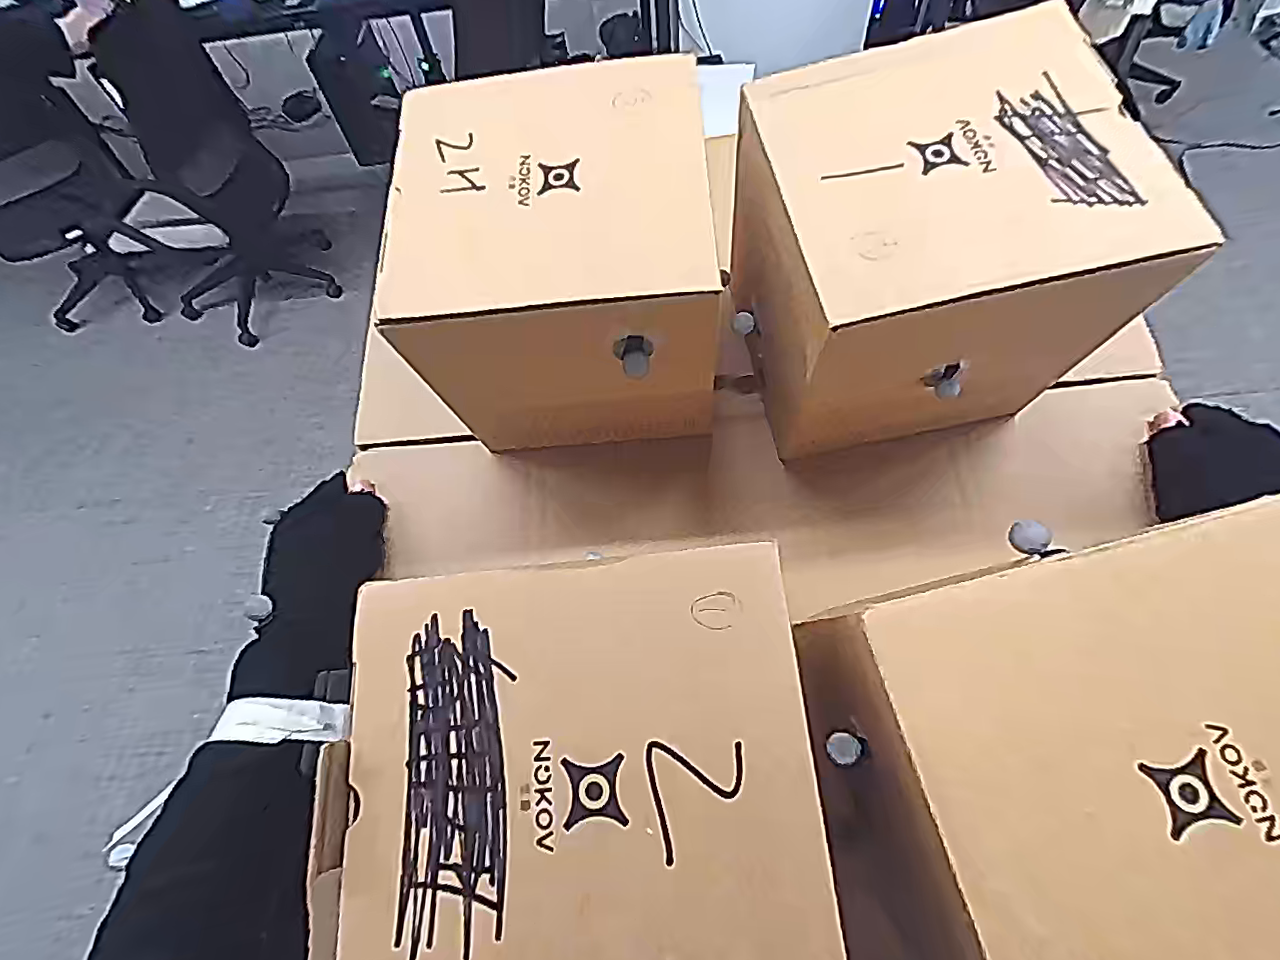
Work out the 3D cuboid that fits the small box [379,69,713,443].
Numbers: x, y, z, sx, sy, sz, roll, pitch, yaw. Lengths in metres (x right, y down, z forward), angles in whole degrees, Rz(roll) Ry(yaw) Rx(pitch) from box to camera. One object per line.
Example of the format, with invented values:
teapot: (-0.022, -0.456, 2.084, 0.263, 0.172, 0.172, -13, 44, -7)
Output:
small box: (-0.045, -0.135, 0.376, 0.179, 0.176, 0.168, -4, 70, 5)
